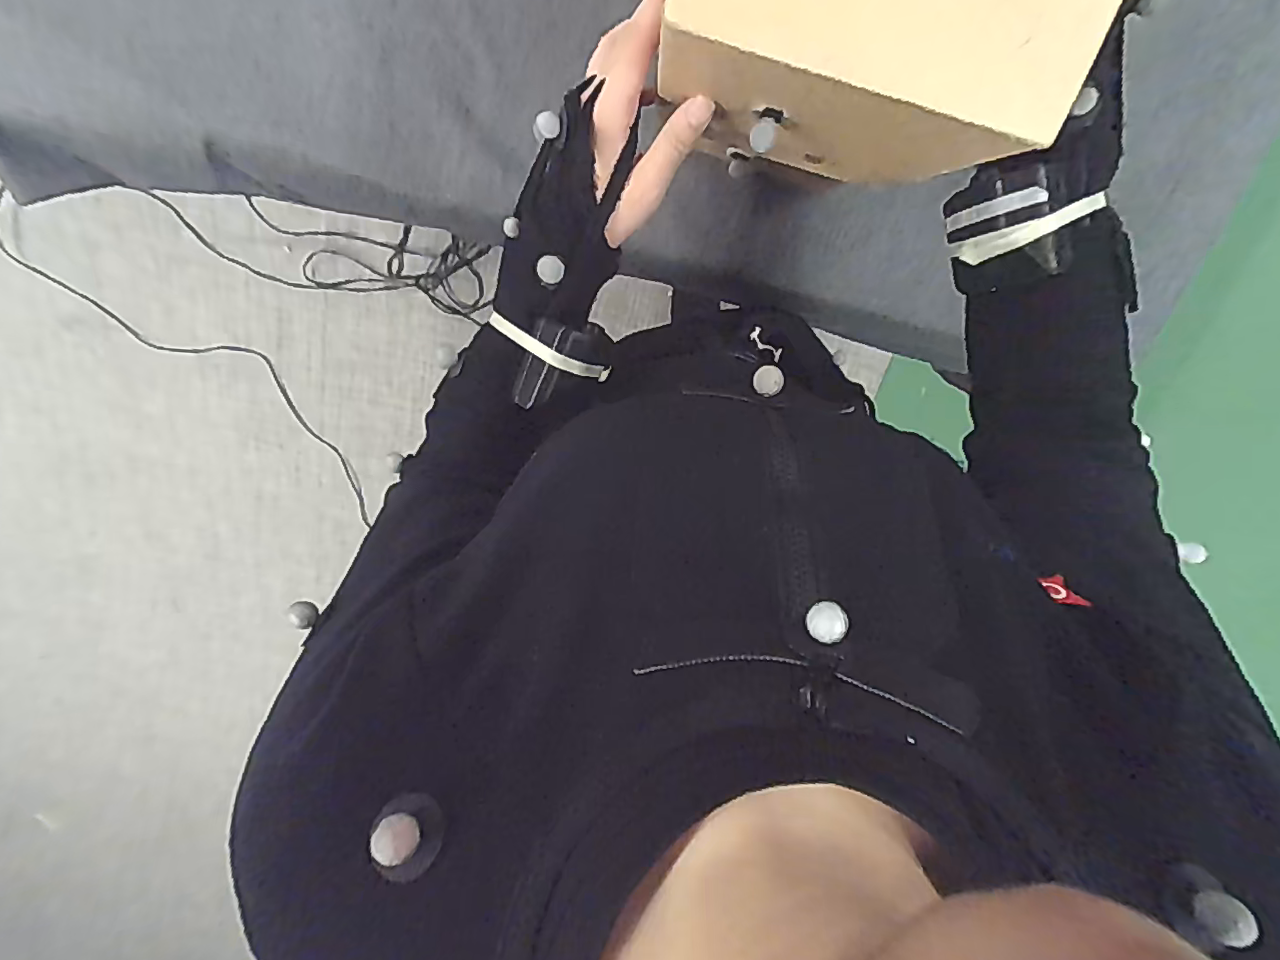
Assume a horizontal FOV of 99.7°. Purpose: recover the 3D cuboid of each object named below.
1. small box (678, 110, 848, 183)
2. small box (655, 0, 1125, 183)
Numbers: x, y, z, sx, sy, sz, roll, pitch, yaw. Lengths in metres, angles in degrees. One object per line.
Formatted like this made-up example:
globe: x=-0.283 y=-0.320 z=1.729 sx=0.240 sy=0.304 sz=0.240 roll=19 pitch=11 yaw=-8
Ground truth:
small box: x=0.126 y=-0.347 z=0.402 sx=0.168 sy=0.176 sz=0.179 roll=15 pitch=112 yaw=-2
small box: x=0.109 y=-0.258 z=0.249 sx=0.168 sy=0.176 sz=0.179 roll=14 pitch=111 yaw=-4
